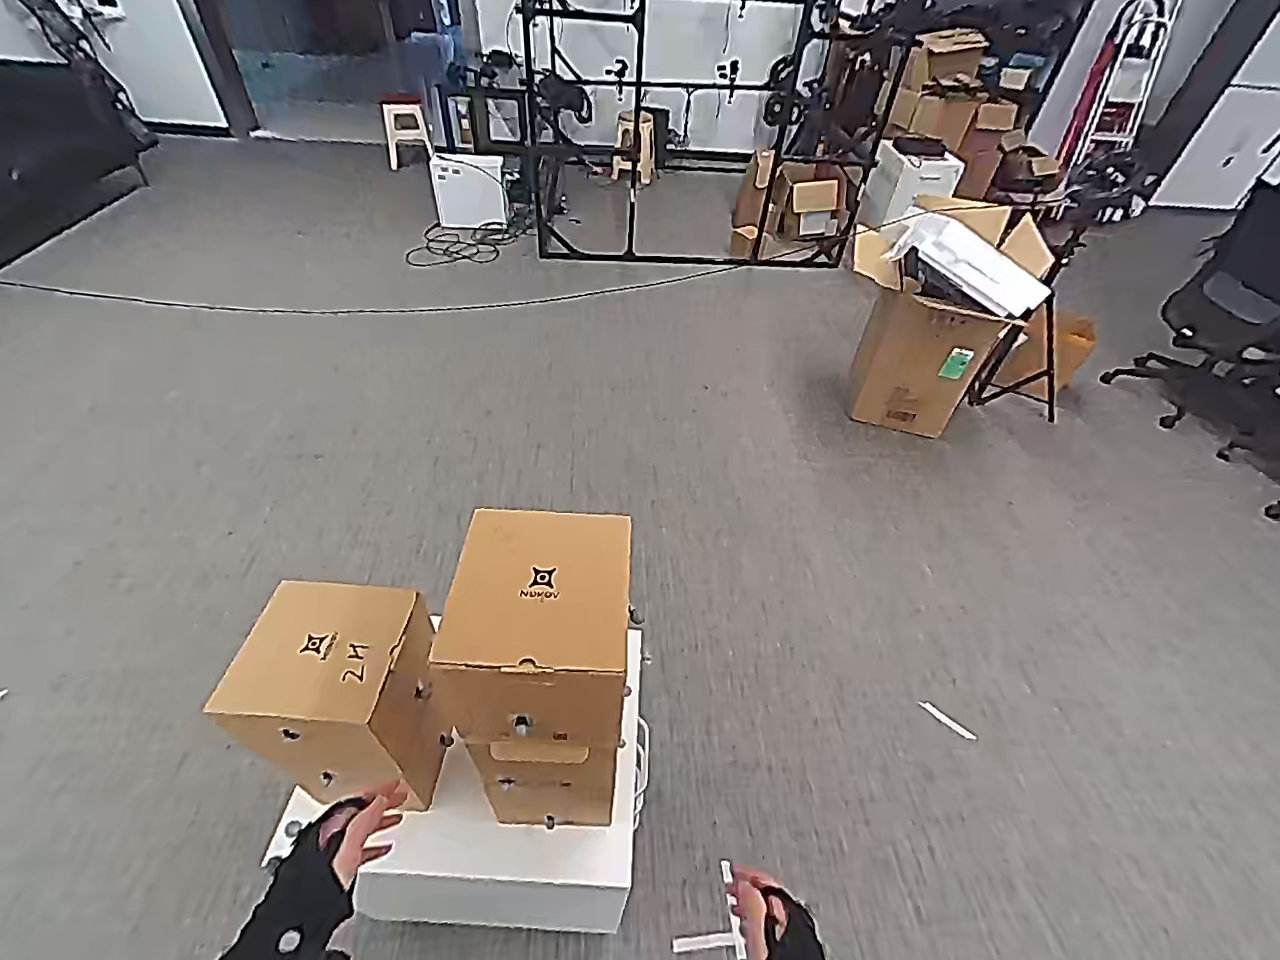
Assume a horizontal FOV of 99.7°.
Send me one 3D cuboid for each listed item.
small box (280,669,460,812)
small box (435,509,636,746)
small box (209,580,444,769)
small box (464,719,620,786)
[{"bbox_3d":[-0.376,0.359,0.794,0.168,0.176,0.179,5,44,0],"label":"small box"},{"bbox_3d":[-0.094,0.153,0.563,0.168,0.176,0.179,3,46,-2],"label":"small box"},{"bbox_3d":[-0.366,0.245,0.675,0.179,0.176,0.168,5,46,-1],"label":"small box"},{"bbox_3d":[-0.105,0.266,0.679,0.168,0.176,0.179,3,44,-2],"label":"small box"}]
